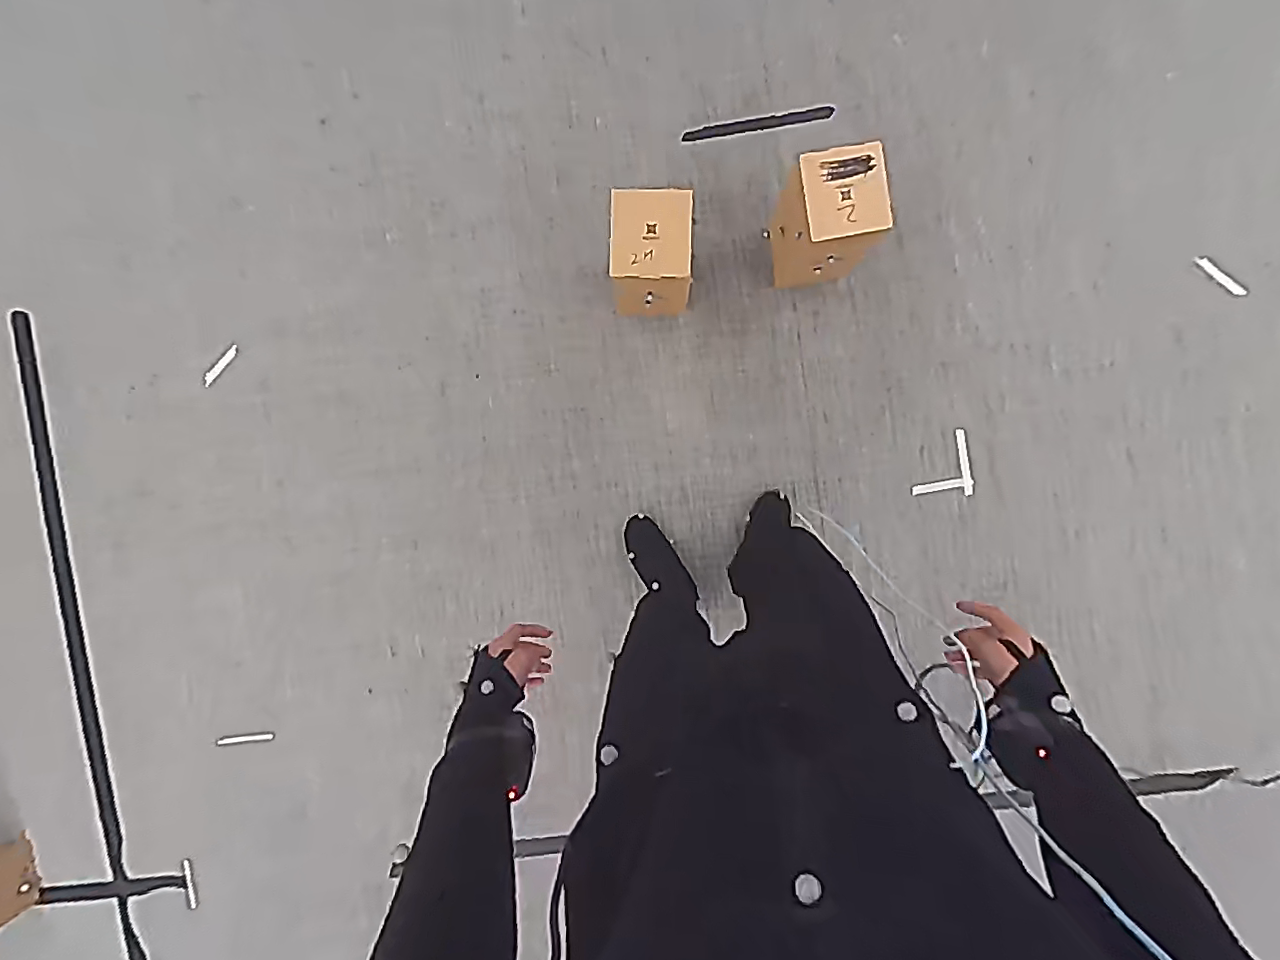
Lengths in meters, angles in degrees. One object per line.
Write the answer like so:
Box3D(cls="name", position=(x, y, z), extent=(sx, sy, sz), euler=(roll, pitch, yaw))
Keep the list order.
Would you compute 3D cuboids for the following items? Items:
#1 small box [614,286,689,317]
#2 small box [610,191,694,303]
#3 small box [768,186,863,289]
Box3D(cls="small box", position=(0.028, -0.506, 1.331), extent=(0.179, 0.176, 0.168), euler=(0, 93, 2))
Box3D(cls="small box", position=(0.025, -0.495, 1.166), extent=(0.168, 0.176, 0.179), euler=(2, 93, 2))
Box3D(cls="small box", position=(0.417, -0.581, 1.317), extent=(0.179, 0.176, 0.168), euler=(-9, 93, 1))
